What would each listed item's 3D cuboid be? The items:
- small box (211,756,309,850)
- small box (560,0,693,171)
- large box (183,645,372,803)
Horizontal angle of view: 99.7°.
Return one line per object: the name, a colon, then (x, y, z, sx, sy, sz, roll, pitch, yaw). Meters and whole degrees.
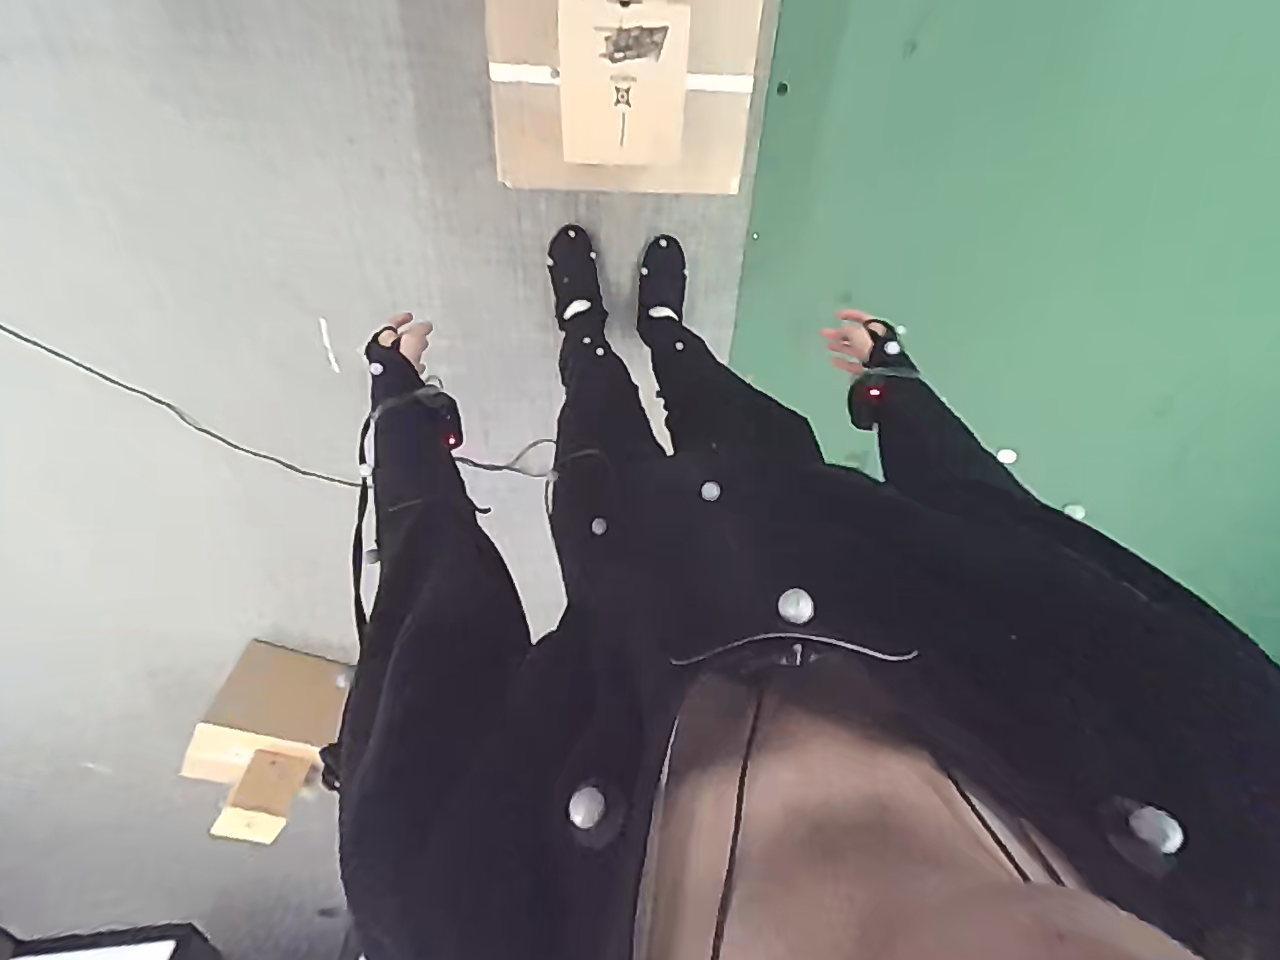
small box: (-1.135, 0.970, 1.626, 0.168, 0.176, 0.179, 30, 116, -22)
small box: (-0.028, -0.548, 0.765, 0.168, 0.176, 0.179, -1, 125, -6)
large box: (-1.189, 0.815, 1.811, 0.408, 0.320, 0.320, 27, 116, -20)
